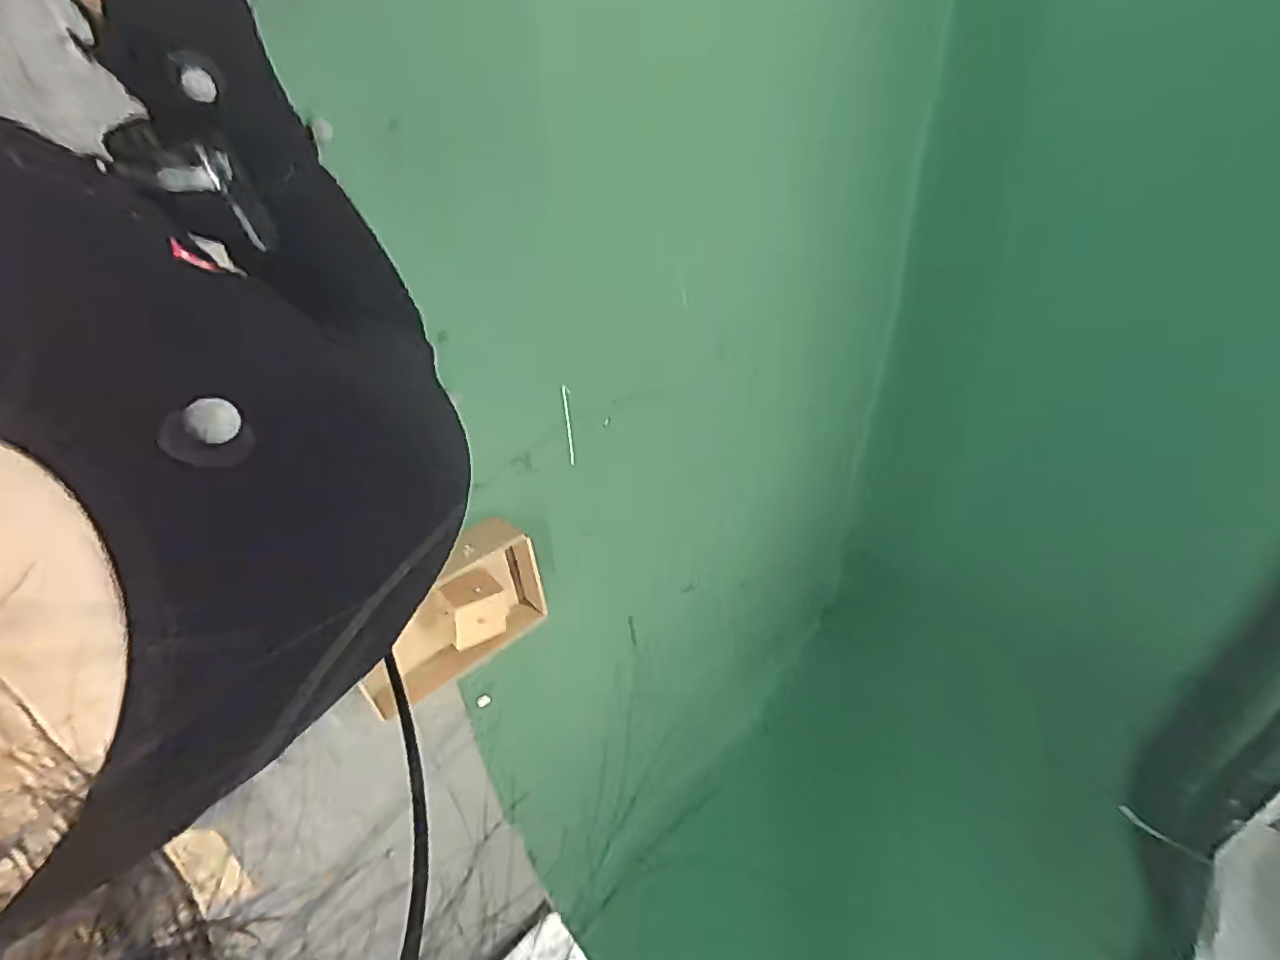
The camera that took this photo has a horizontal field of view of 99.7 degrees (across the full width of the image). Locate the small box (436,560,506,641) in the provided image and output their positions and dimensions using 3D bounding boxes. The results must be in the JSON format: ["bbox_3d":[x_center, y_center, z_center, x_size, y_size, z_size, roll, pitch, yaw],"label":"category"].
[{"bbox_3d":[-0.564,0.393,1.791,0.179,0.176,0.168,-17,125,-39],"label":"small box"}]
